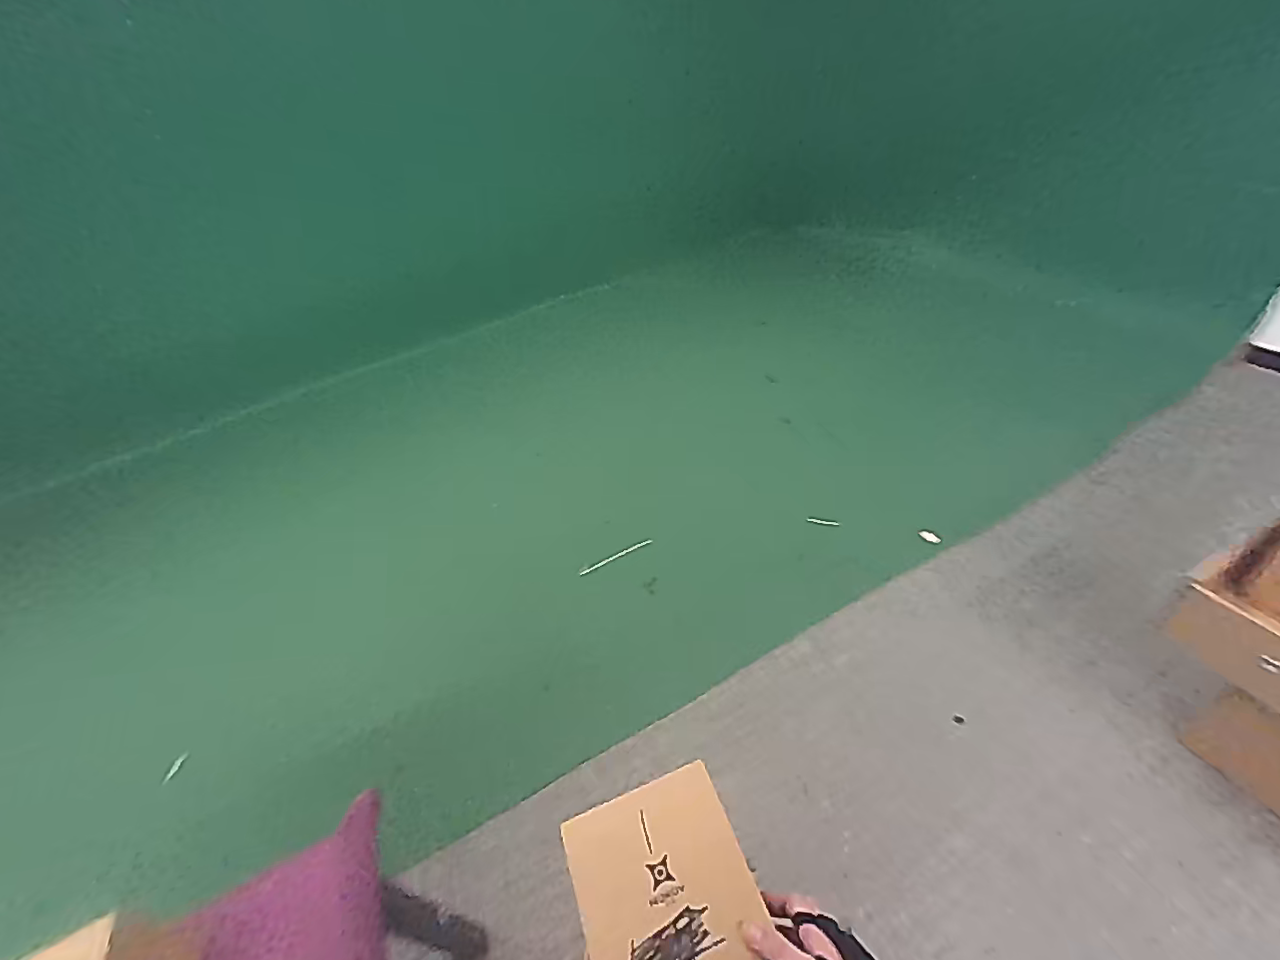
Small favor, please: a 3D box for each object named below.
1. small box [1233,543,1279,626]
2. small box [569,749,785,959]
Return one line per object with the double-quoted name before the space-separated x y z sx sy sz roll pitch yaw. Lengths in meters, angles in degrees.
"small box" 1.447 0.215 1.151 0.179 0.176 0.168 -23 43 -13
"small box" 0.038 0.428 0.575 0.168 0.176 0.179 -18 44 -8
